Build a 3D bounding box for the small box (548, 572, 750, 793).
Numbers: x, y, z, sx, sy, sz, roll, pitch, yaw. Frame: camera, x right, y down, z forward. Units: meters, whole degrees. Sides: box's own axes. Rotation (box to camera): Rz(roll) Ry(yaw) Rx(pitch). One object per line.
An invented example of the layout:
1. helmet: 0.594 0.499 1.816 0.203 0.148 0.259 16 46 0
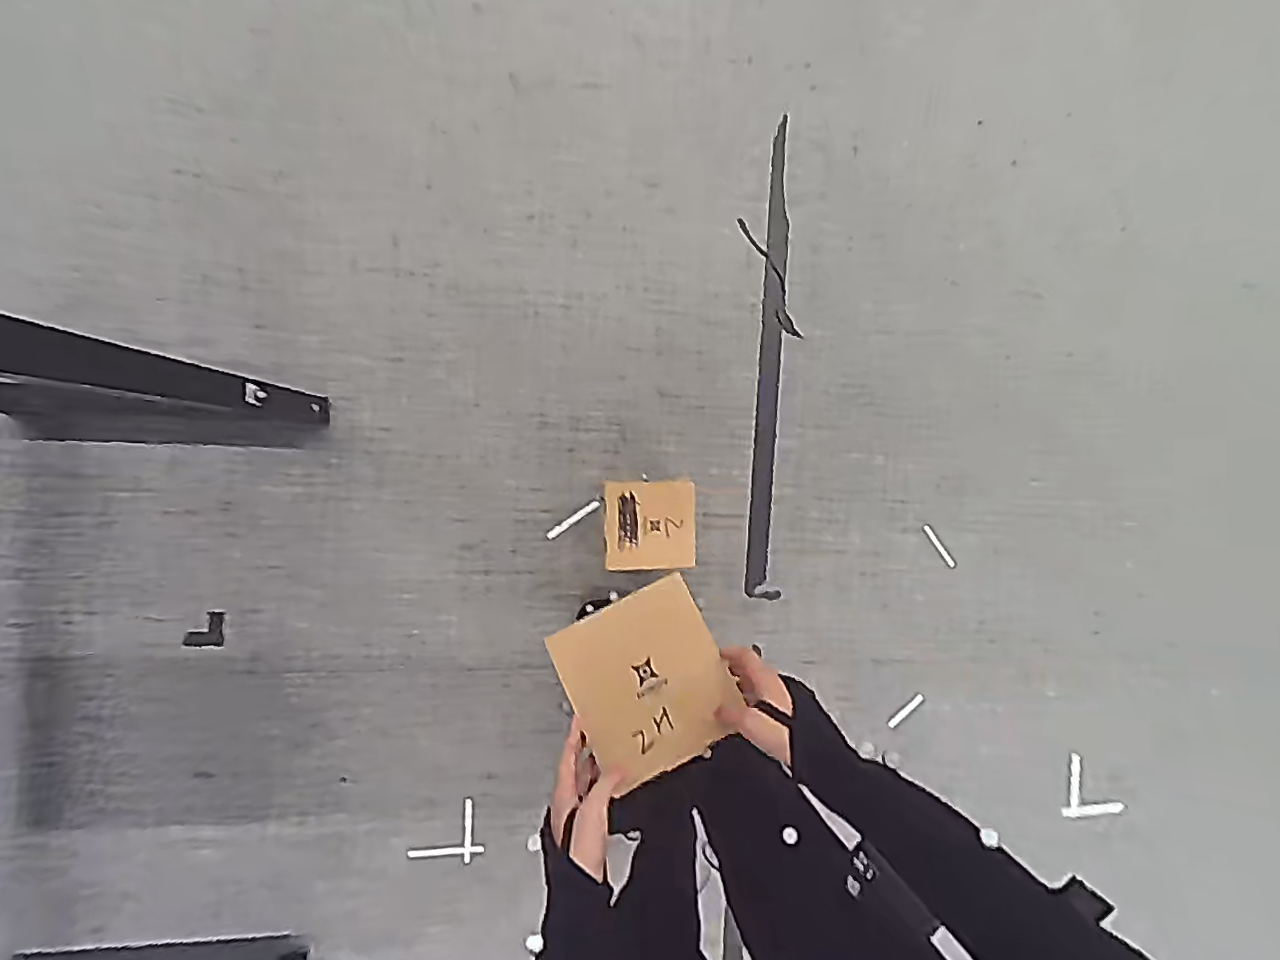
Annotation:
1. small box: 0.004 0.229 0.648 0.168 0.176 0.179 -25 78 -8
